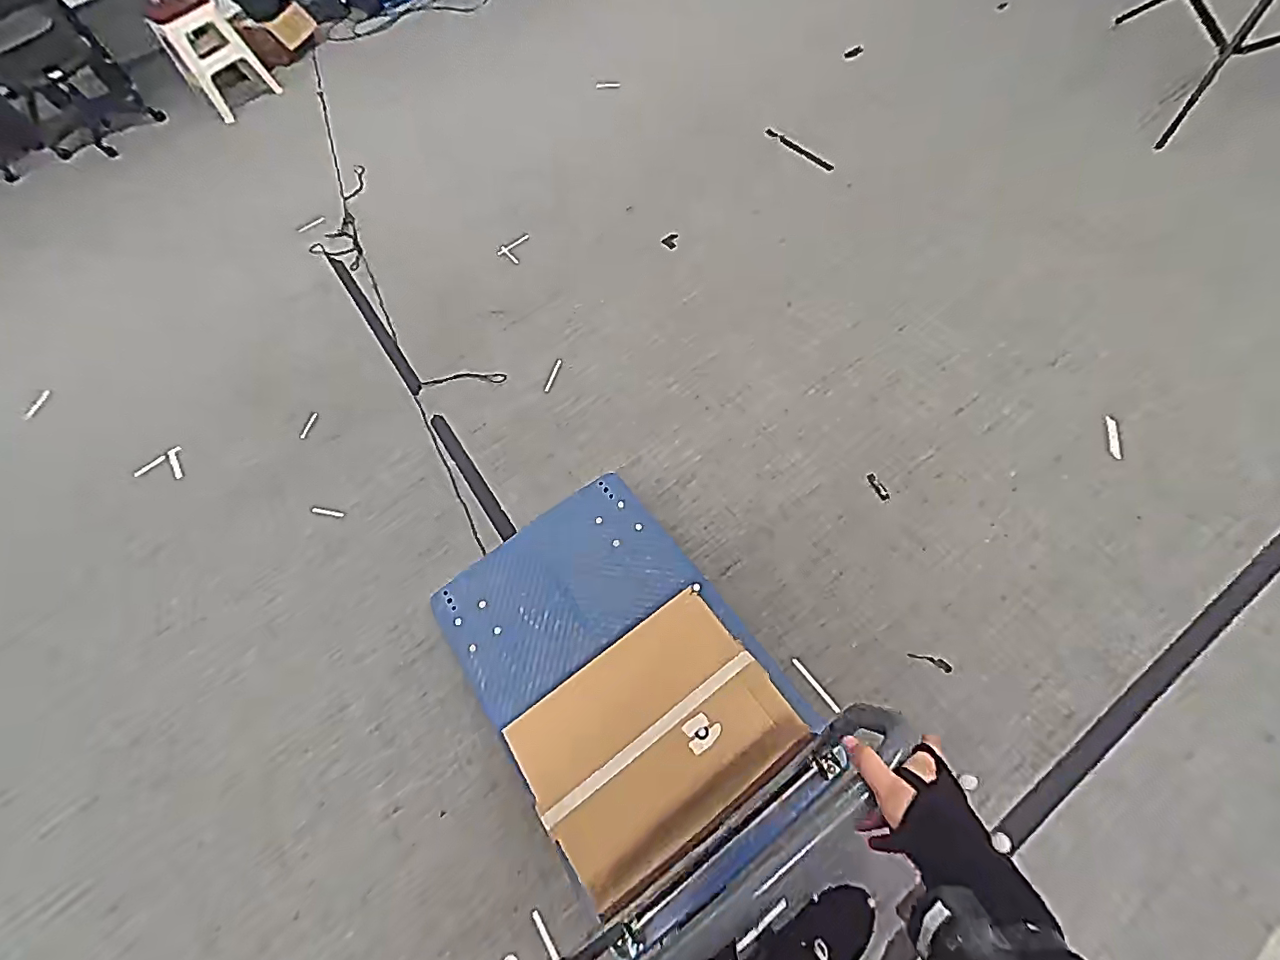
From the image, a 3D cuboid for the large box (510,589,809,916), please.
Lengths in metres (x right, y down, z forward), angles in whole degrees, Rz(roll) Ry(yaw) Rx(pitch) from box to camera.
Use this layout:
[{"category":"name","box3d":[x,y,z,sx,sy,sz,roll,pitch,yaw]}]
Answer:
[{"category":"large box","box3d":[0.043,0.484,1.003,0.408,0.320,0.320,-35,62,-11]}]
